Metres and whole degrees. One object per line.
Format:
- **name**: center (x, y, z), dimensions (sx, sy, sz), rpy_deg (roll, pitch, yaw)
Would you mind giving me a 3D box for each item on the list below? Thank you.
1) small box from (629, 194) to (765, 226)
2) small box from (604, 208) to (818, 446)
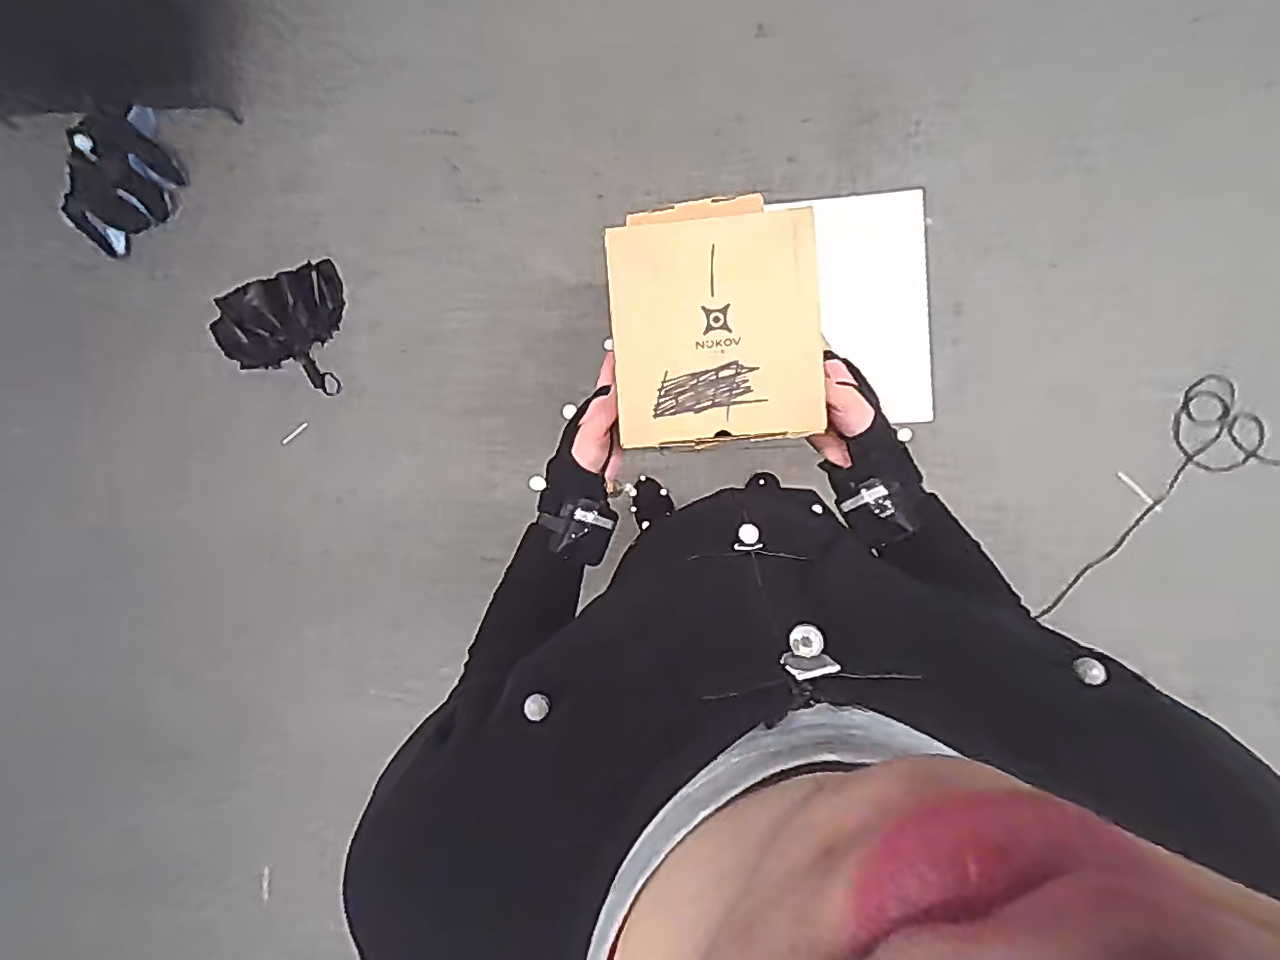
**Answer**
- **small box**: center (0.082, -0.244, 0.724), dimensions (0.168, 0.176, 0.179), rpy_deg (-6, 90, 7)
- **small box**: center (0.063, -0.127, 0.509), dimensions (0.168, 0.176, 0.179), rpy_deg (-4, 95, 4)
